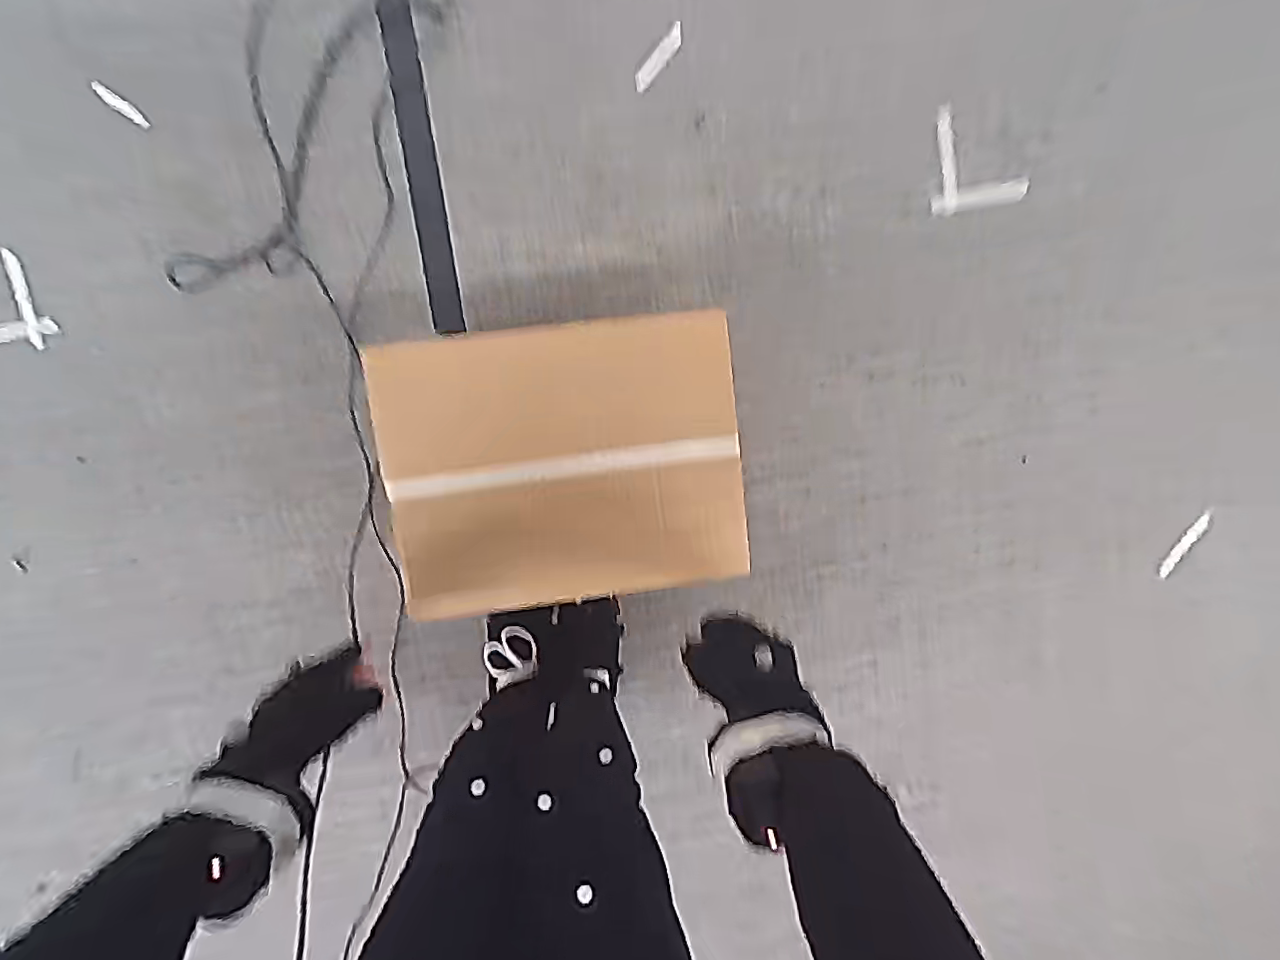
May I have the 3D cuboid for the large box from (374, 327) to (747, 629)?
[{"bbox_3d":[-0.097,-0.017,0.777,0.408,0.320,0.320,-7,98,-5],"label":"large box"}]
